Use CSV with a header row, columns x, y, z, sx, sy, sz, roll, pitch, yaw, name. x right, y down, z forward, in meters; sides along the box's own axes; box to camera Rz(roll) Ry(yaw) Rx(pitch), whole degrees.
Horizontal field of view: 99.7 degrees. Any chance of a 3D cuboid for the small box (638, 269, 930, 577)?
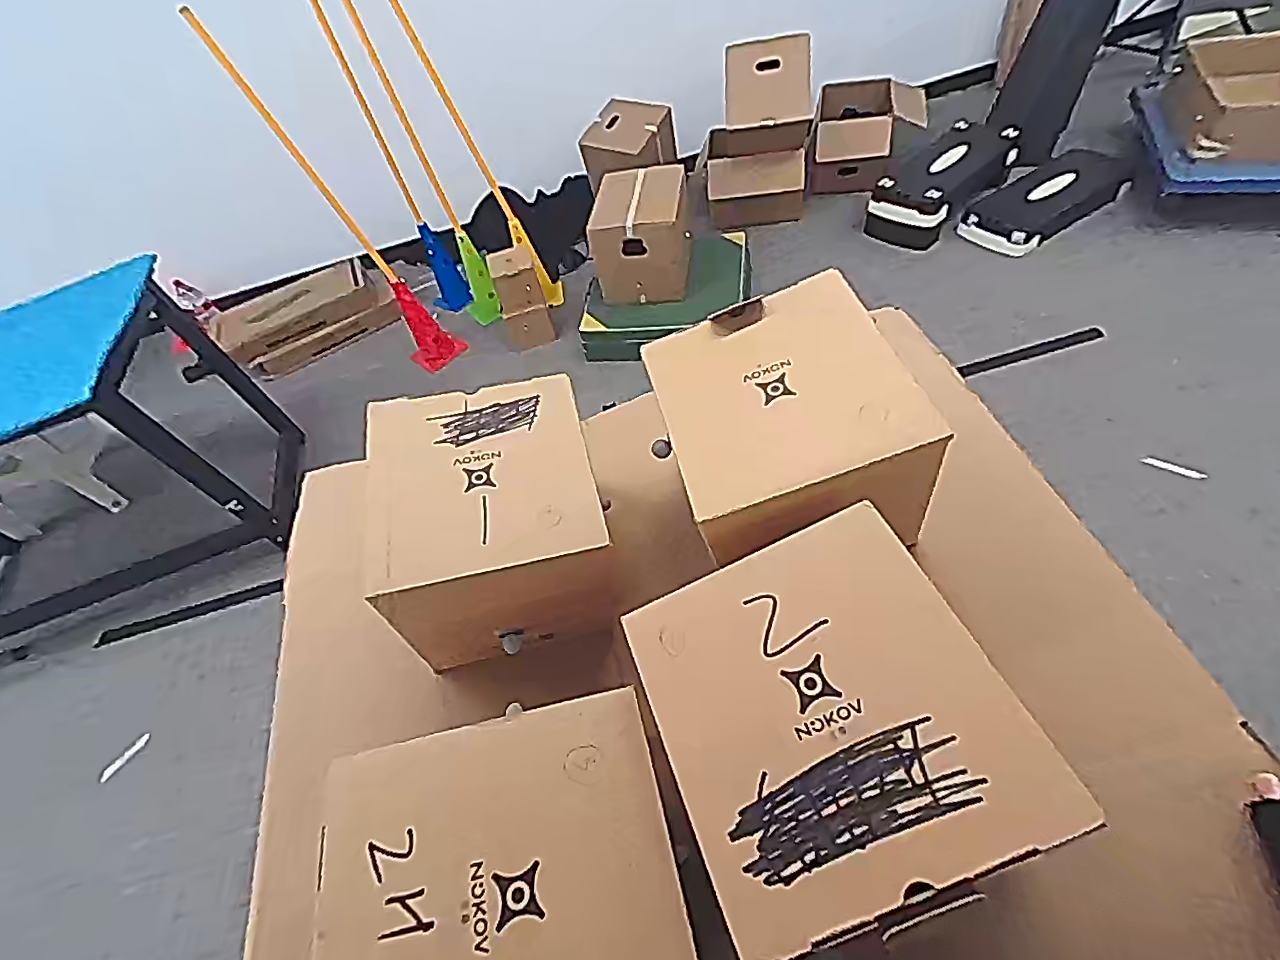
x,y,z,sx,sy,sz,roll,pitch,yaw,name
0.115,-0.034,0.460,0.168,0.176,0.179,-20,54,7,small box
